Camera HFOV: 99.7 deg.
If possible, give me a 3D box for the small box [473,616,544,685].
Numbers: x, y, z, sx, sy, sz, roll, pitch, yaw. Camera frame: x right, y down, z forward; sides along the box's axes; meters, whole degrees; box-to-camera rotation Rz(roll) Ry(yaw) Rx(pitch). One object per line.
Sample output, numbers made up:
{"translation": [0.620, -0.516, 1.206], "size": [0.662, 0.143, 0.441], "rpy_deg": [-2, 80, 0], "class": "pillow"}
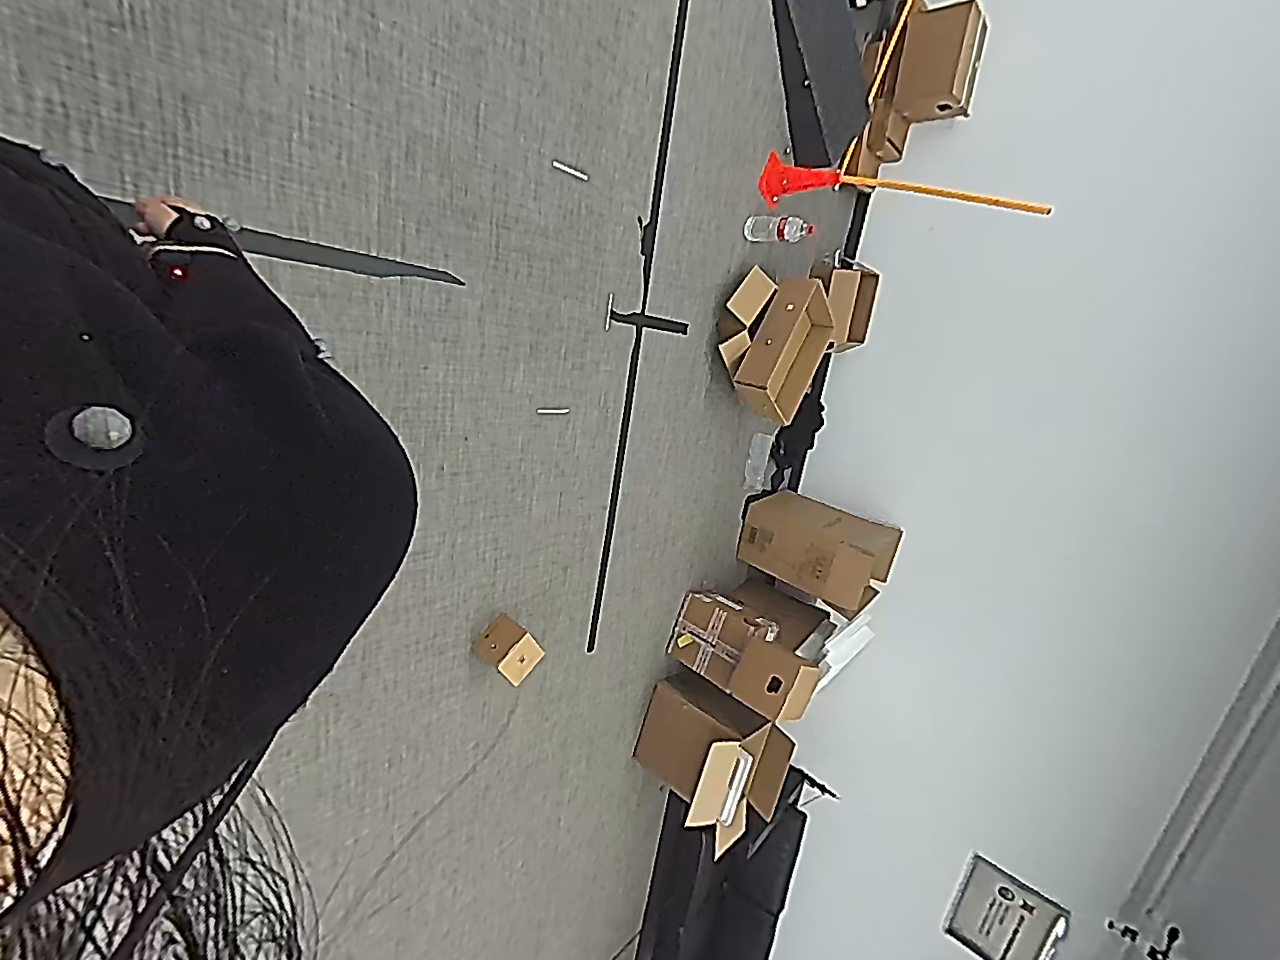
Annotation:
{"translation": [-0.514, 0.656, 2.105], "size": [0.168, 0.176, 0.179], "rpy_deg": [-47, 140, -25], "class": "small box"}
